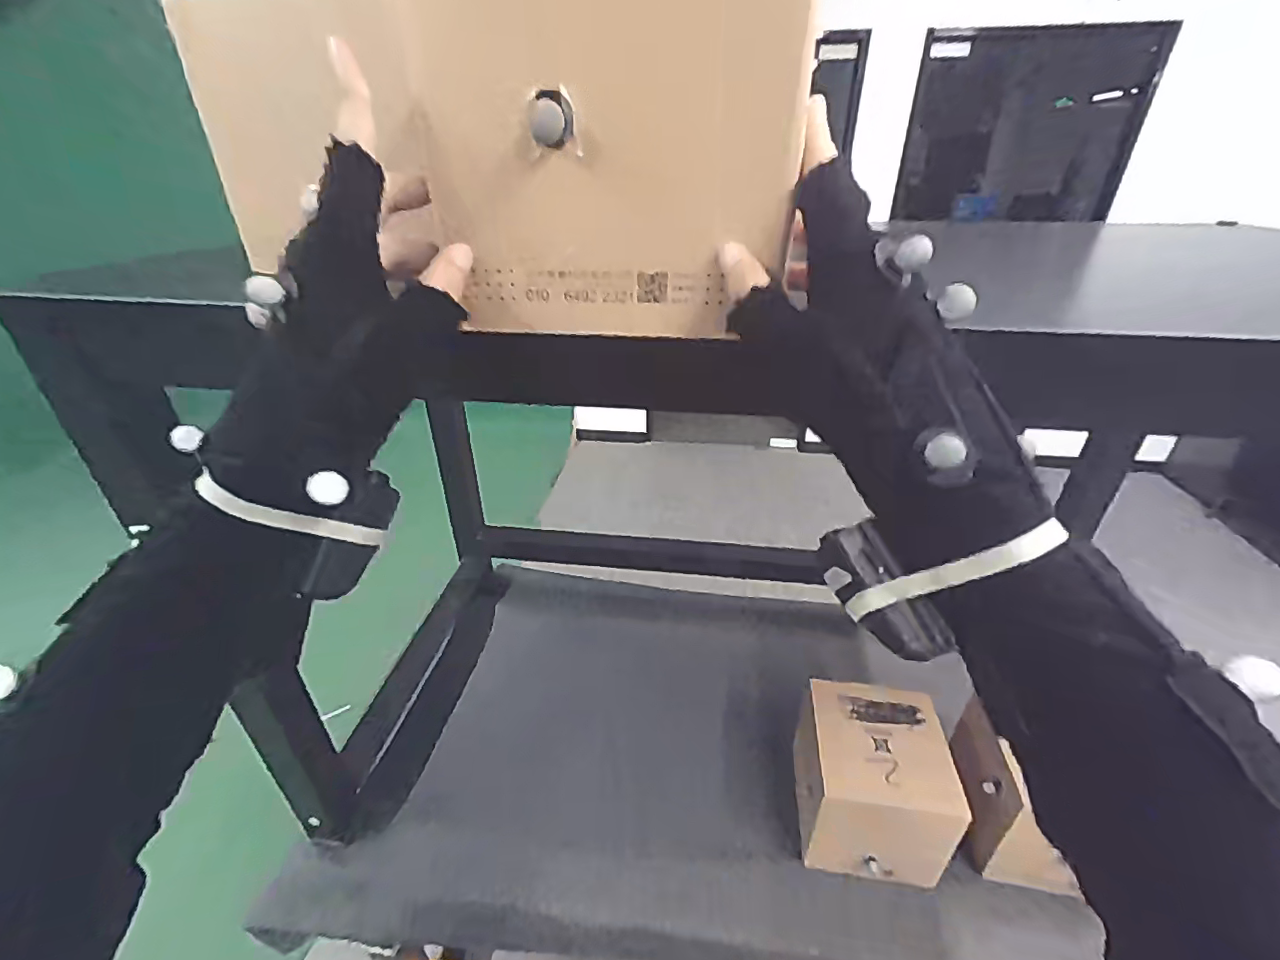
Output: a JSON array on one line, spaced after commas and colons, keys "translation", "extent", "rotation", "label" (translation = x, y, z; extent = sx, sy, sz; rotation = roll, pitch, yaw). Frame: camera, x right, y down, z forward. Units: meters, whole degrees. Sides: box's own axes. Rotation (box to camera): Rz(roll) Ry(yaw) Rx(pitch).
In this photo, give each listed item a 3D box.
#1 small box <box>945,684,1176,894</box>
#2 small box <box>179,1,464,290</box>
[{"translation": [0.540, 0.412, 0.728], "extent": [0.168, 0.176, 0.179], "rotation": [5, 30, 9], "label": "small box"}, {"translation": [-0.203, -0.263, 0.444], "extent": [0.168, 0.176, 0.179], "rotation": [5, 32, 8], "label": "small box"}]
